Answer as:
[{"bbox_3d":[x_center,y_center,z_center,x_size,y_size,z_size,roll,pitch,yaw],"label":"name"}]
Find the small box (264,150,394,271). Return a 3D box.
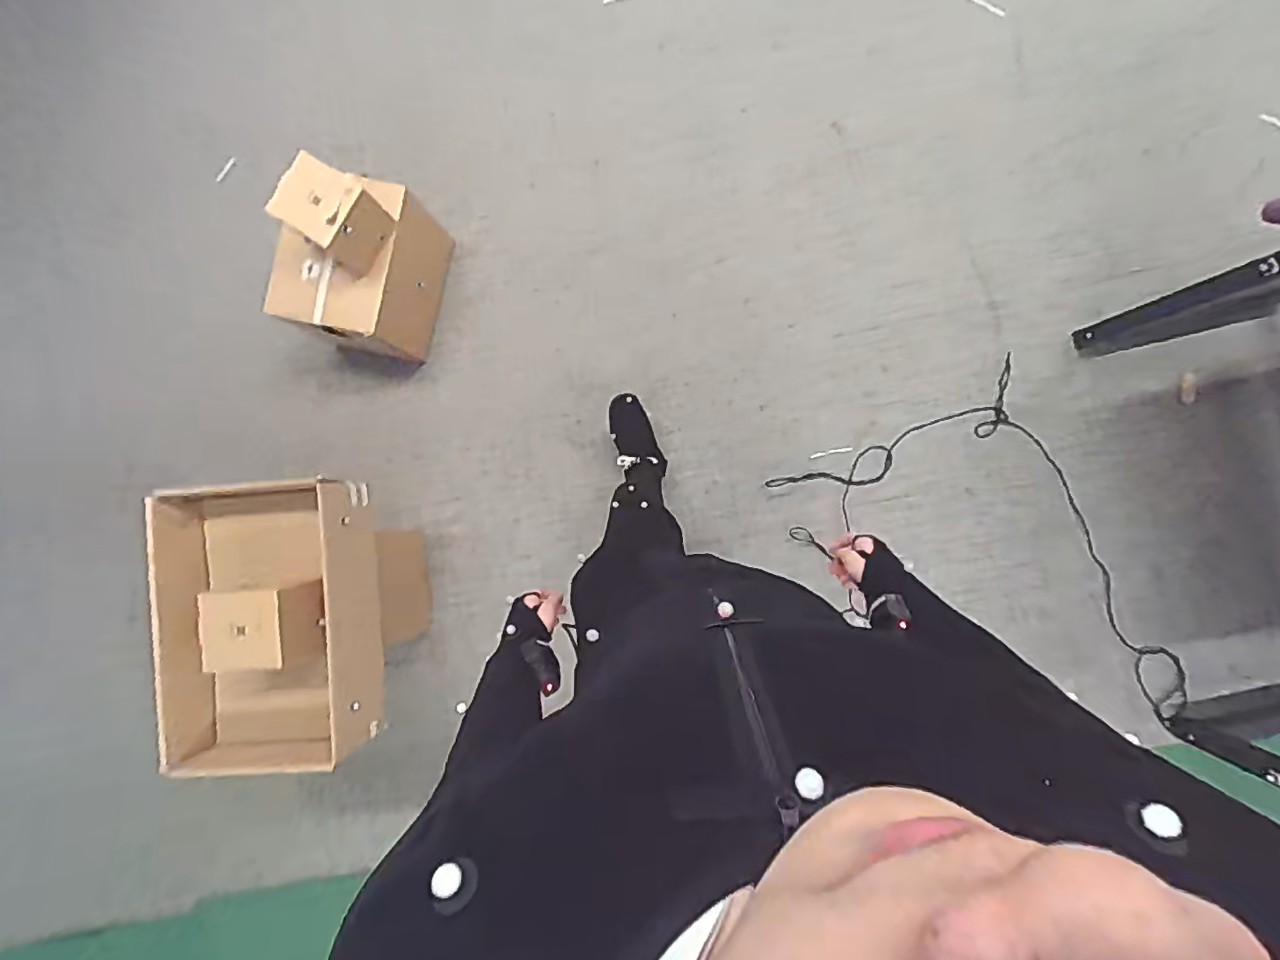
[{"bbox_3d":[-0.741,-0.638,1.306,0.179,0.176,0.168,32,90,3],"label":"small box"}]

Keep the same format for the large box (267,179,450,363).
[{"bbox_3d":[-0.784,-0.590,1.554,0.320,0.320,0.408,12,90,4],"label":"large box"}]
